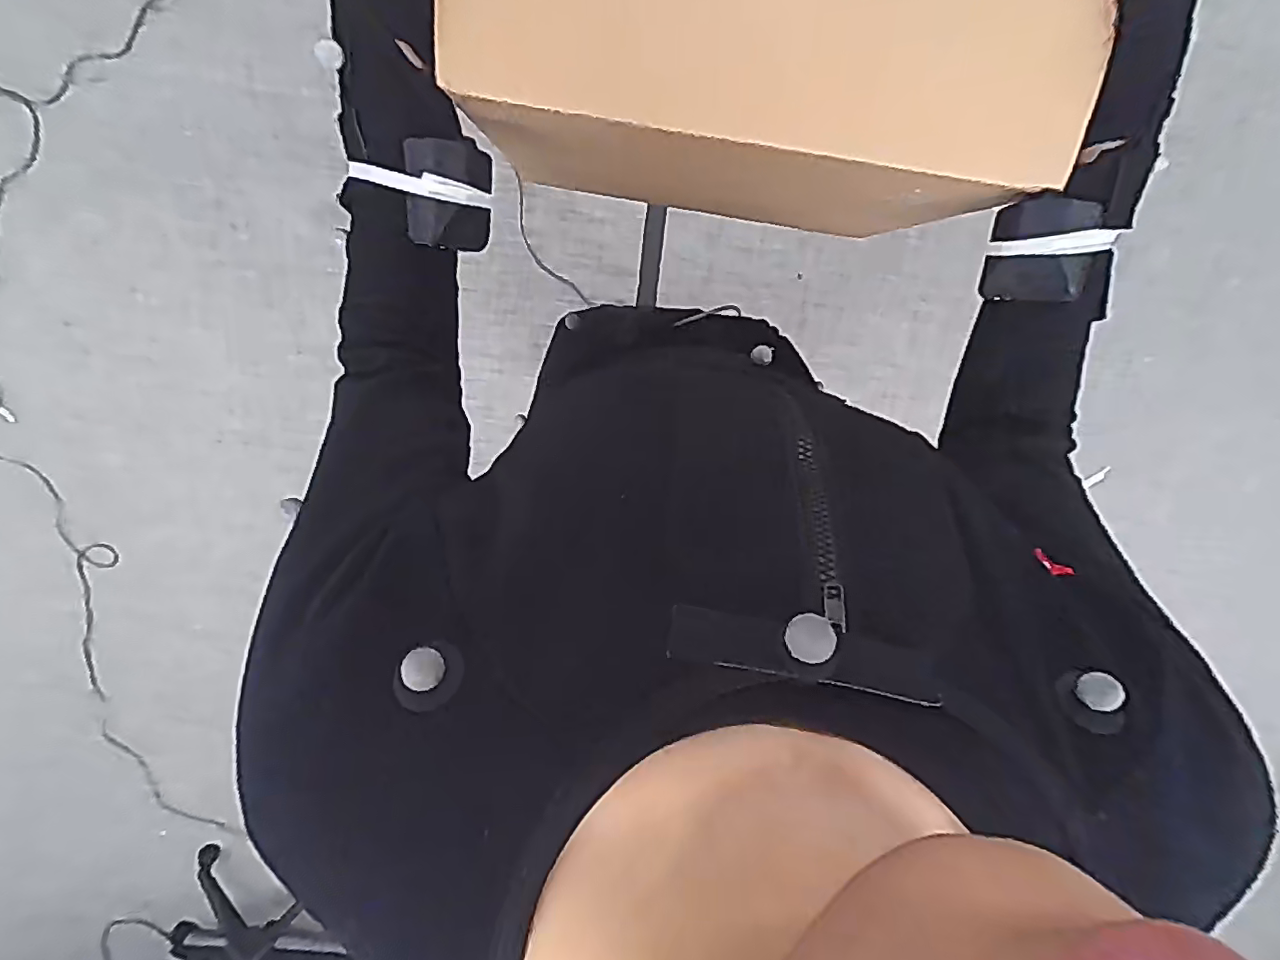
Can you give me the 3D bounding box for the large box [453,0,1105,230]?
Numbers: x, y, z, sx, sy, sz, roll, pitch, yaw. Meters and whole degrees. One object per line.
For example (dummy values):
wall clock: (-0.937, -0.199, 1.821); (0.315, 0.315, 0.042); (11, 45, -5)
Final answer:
large box: (0.091, -0.413, 0.444); (0.408, 0.320, 0.320); (7, 110, -5)
